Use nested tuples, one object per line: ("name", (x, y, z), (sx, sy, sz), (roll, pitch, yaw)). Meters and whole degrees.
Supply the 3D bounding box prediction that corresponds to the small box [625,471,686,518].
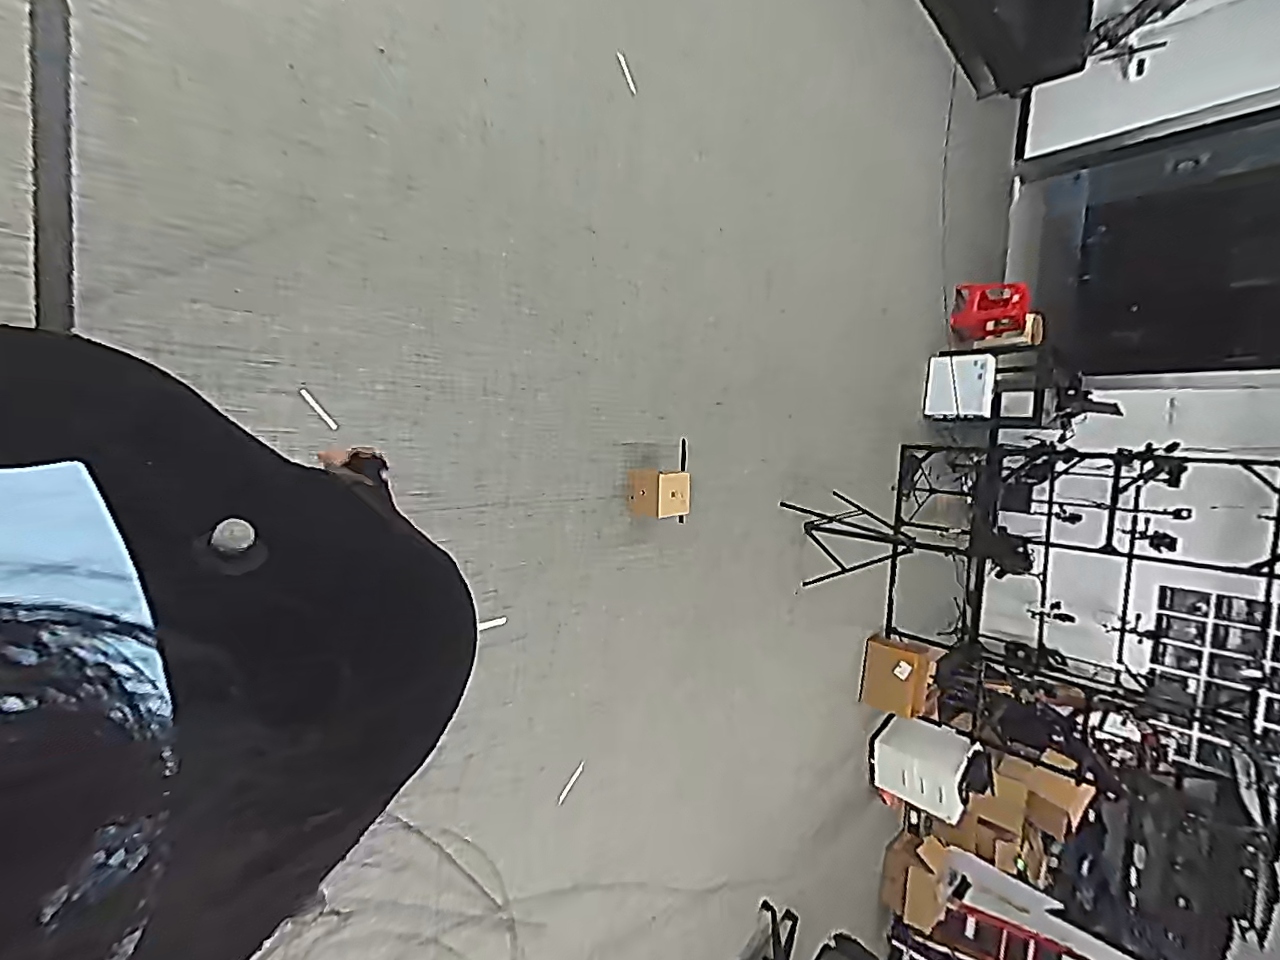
("small box", (0.058, 0.053, 2.107), (0.179, 0.176, 0.168), (-4, 98, -45))
